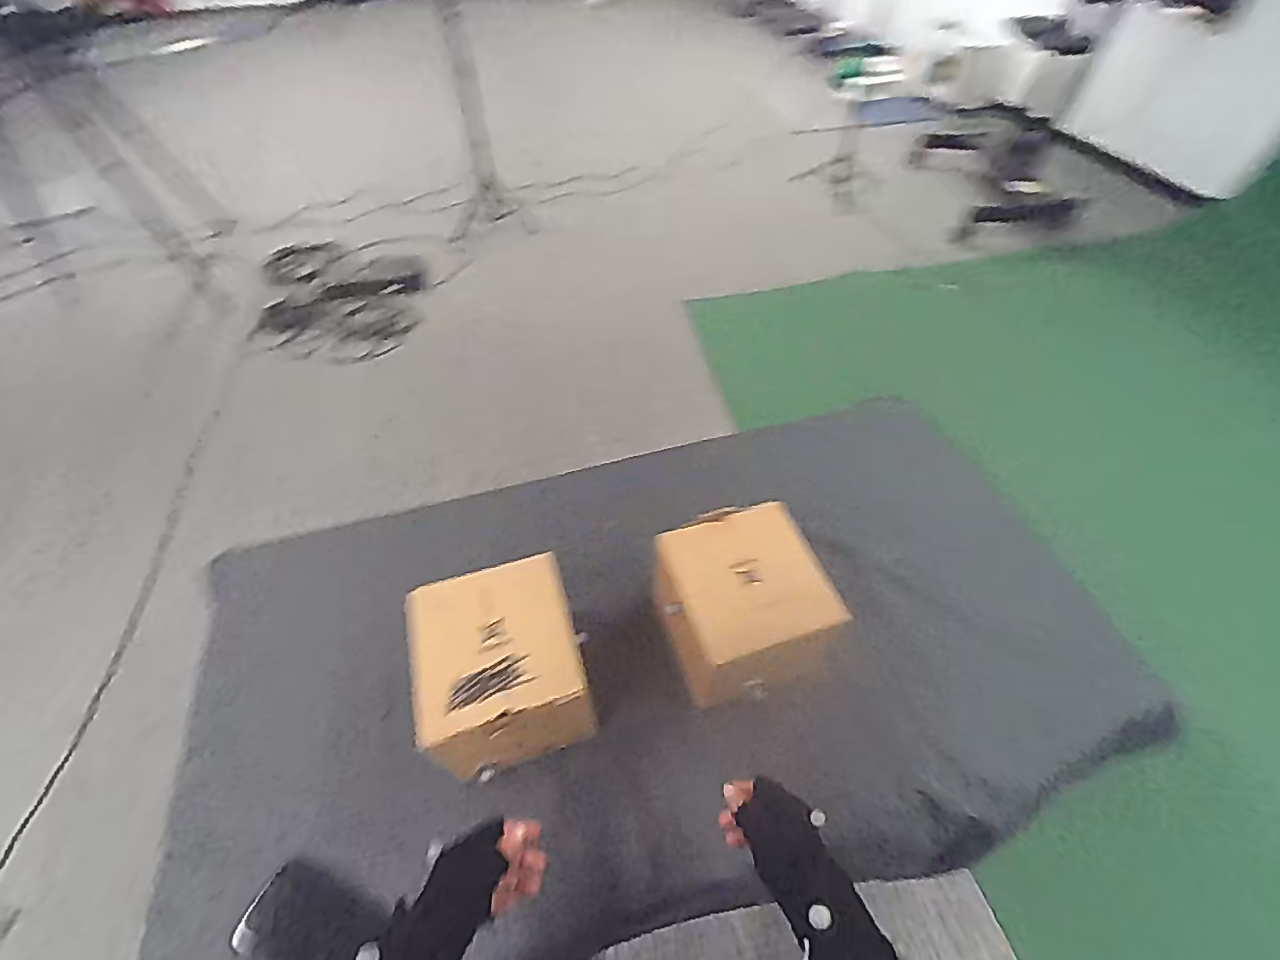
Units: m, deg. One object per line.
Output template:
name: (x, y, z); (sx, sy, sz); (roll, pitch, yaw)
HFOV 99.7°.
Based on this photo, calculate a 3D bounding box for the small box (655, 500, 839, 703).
small box: (0.121, 0.158, 0.701); (0.168, 0.176, 0.179); (-16, 54, -11)

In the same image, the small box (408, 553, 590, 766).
small box: (-0.162, 0.221, 0.648); (0.168, 0.176, 0.179); (-15, 52, -12)
